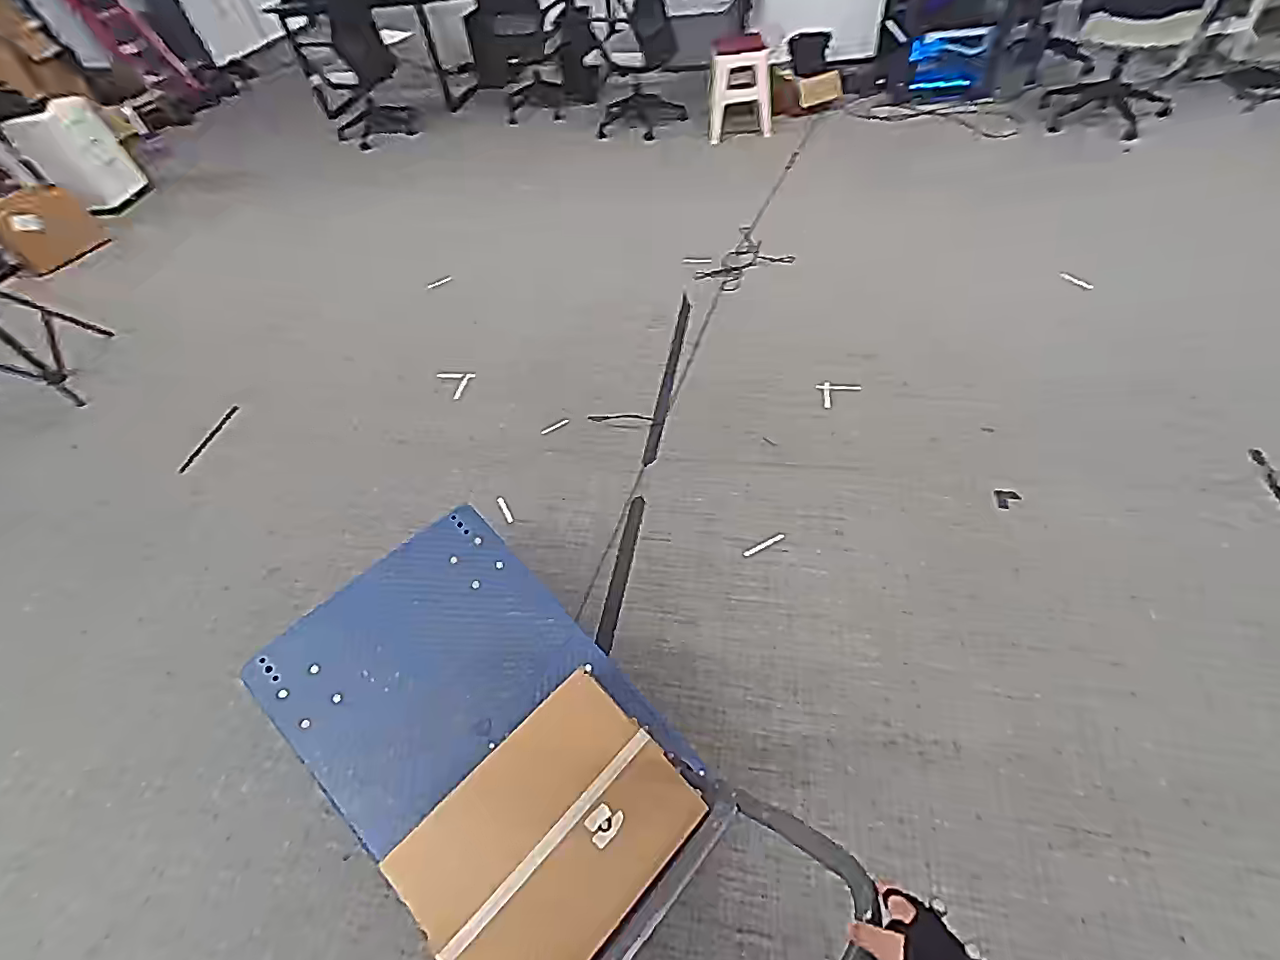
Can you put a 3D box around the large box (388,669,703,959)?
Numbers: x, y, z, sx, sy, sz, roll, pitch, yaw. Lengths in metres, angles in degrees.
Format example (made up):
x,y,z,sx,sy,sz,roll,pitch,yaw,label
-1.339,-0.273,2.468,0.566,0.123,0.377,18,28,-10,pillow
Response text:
x,y,z,sx,sy,sz,roll,pitch,yaw,label
-0.158,0.617,0.978,0.320,0.320,0.408,45,66,10,large box
